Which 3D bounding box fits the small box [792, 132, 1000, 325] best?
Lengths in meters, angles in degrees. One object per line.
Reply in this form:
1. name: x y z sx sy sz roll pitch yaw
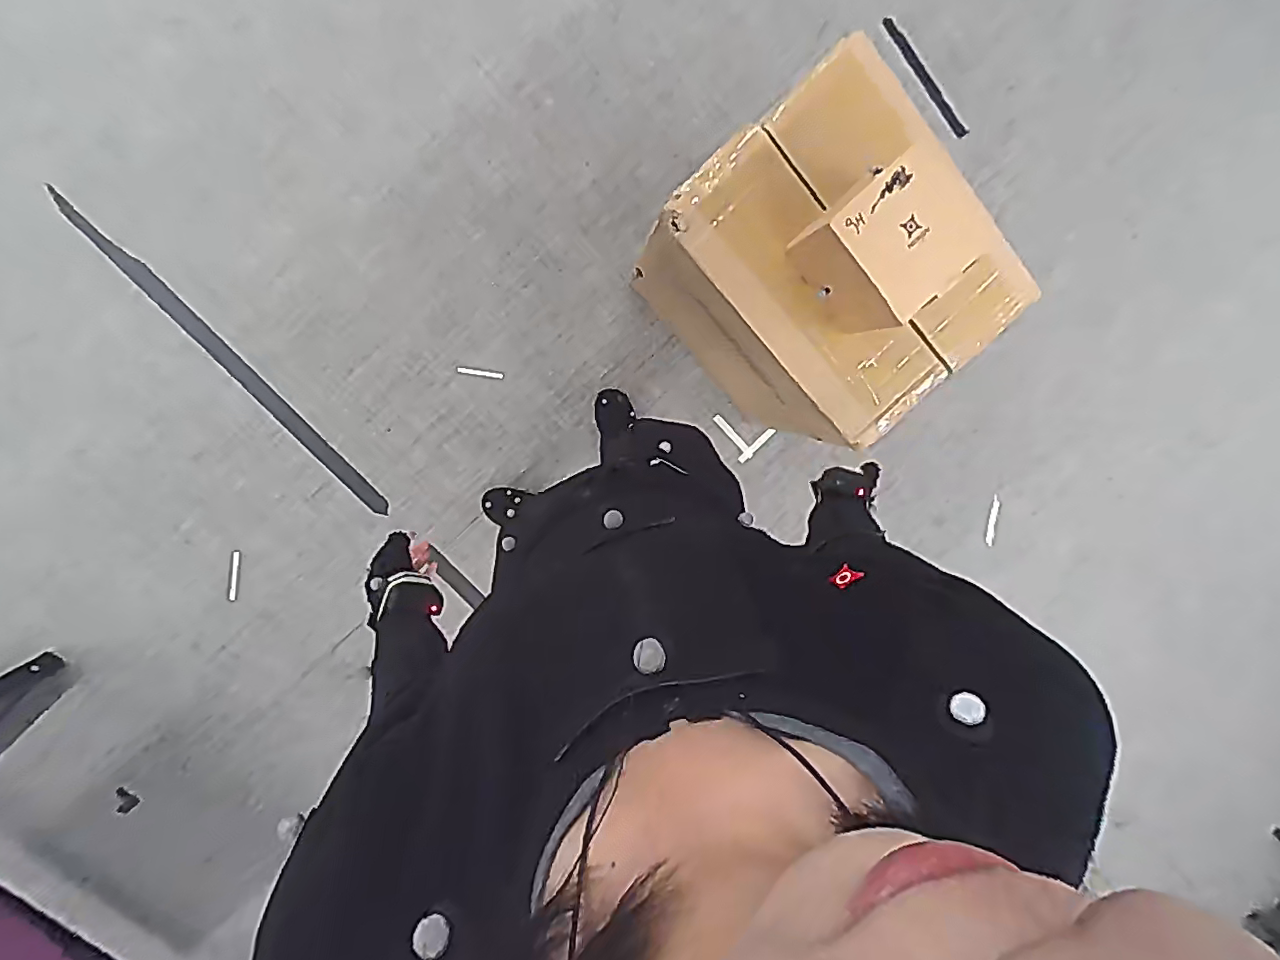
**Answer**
1. small box: 0.355 -0.343 0.780 0.168 0.176 0.179 -42 102 4
